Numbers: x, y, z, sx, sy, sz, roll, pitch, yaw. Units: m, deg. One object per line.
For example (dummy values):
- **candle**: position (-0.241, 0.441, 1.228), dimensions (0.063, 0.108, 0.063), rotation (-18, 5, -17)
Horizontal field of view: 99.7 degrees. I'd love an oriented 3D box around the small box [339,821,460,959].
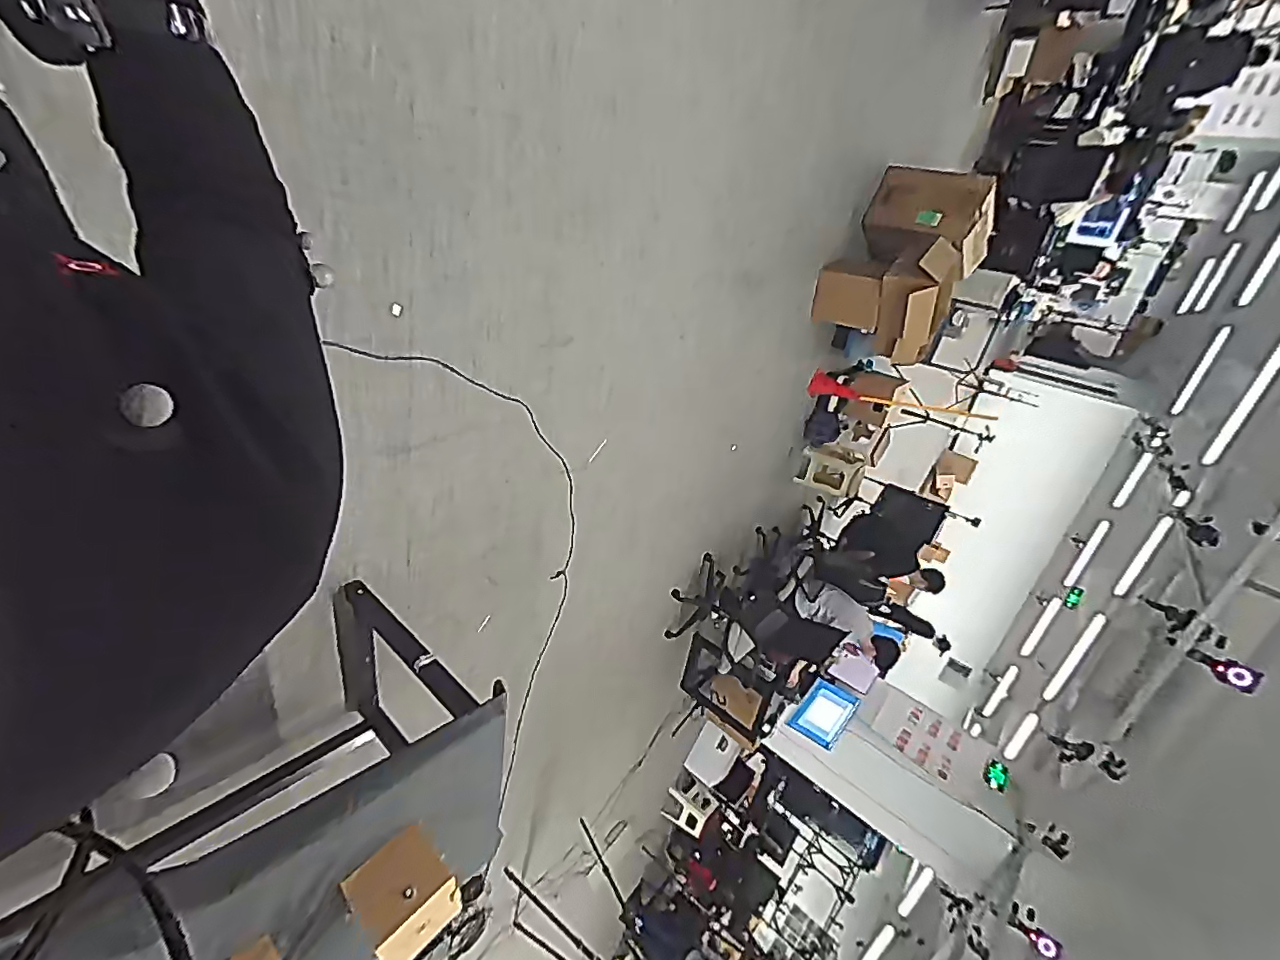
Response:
- **small box**: position (-0.529, 0.911, 1.199), dimensions (0.179, 0.176, 0.168), rotation (-29, 134, -40)
